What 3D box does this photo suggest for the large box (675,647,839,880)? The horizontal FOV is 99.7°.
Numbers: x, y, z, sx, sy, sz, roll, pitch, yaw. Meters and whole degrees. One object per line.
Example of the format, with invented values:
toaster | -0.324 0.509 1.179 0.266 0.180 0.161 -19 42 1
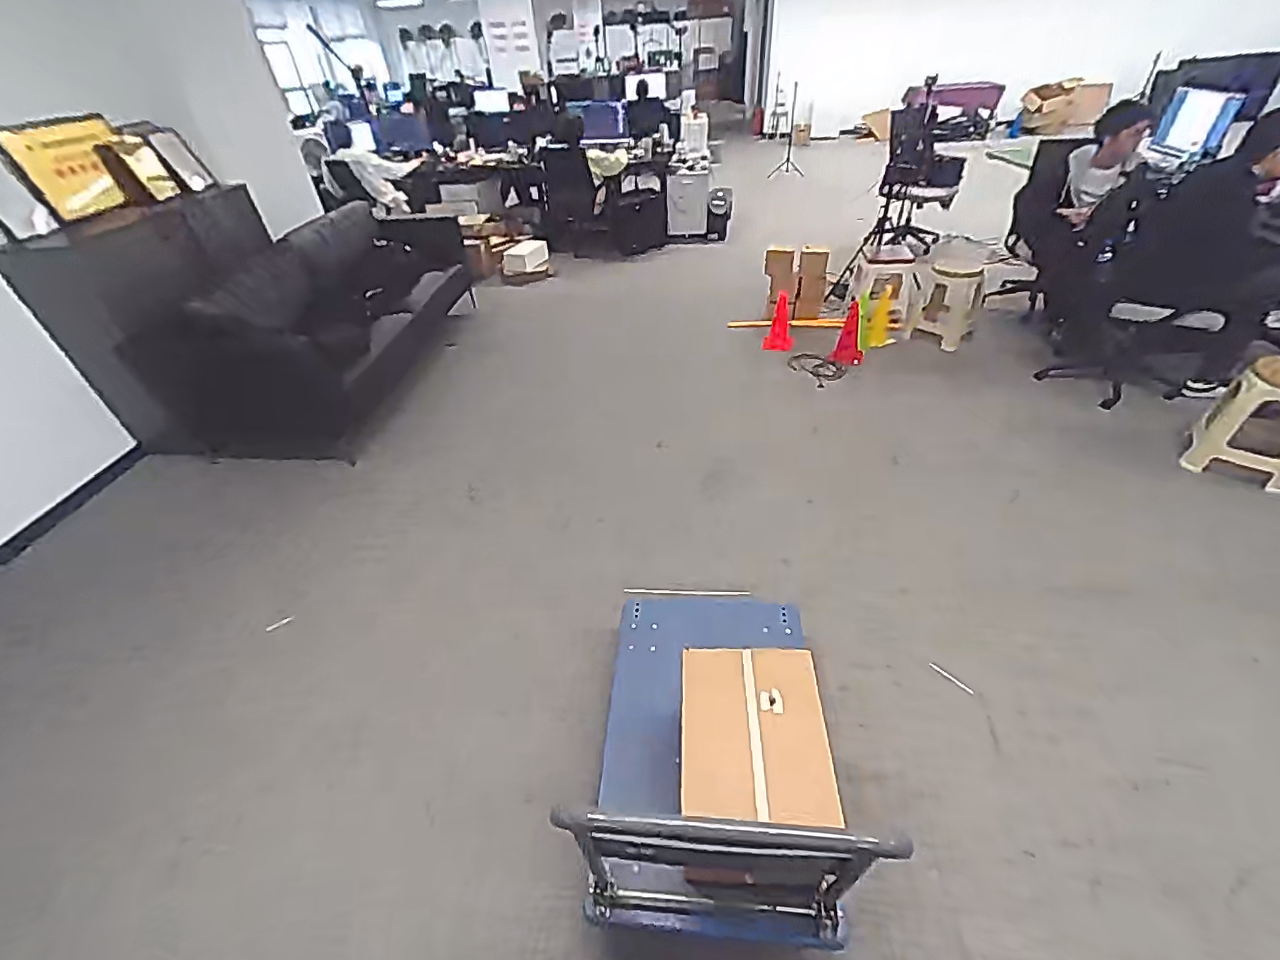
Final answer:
large box | 0.244 0.655 1.268 0.320 0.320 0.408 0 40 5
